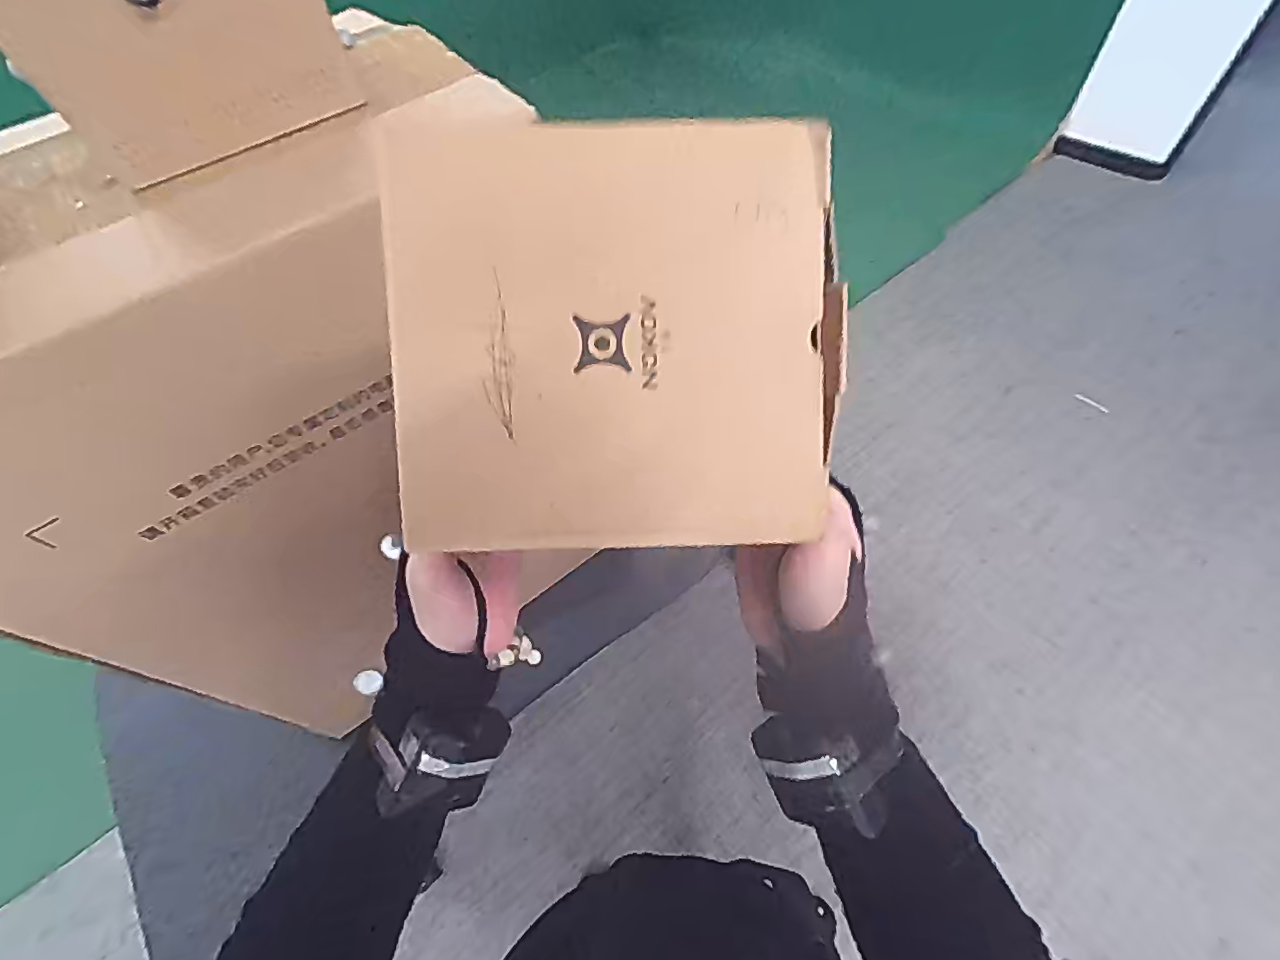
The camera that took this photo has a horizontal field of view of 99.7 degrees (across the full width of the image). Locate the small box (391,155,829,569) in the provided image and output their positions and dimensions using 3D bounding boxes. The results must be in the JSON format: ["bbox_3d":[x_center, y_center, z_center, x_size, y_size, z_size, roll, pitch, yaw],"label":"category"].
[{"bbox_3d":[-0.011,-0.052,0.300,0.179,0.176,0.168,-2,93,0],"label":"small box"}]

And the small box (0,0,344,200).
[{"bbox_3d":[-0.331,-0.328,0.357,0.179,0.176,0.168,-35,63,-14],"label":"small box"}]
